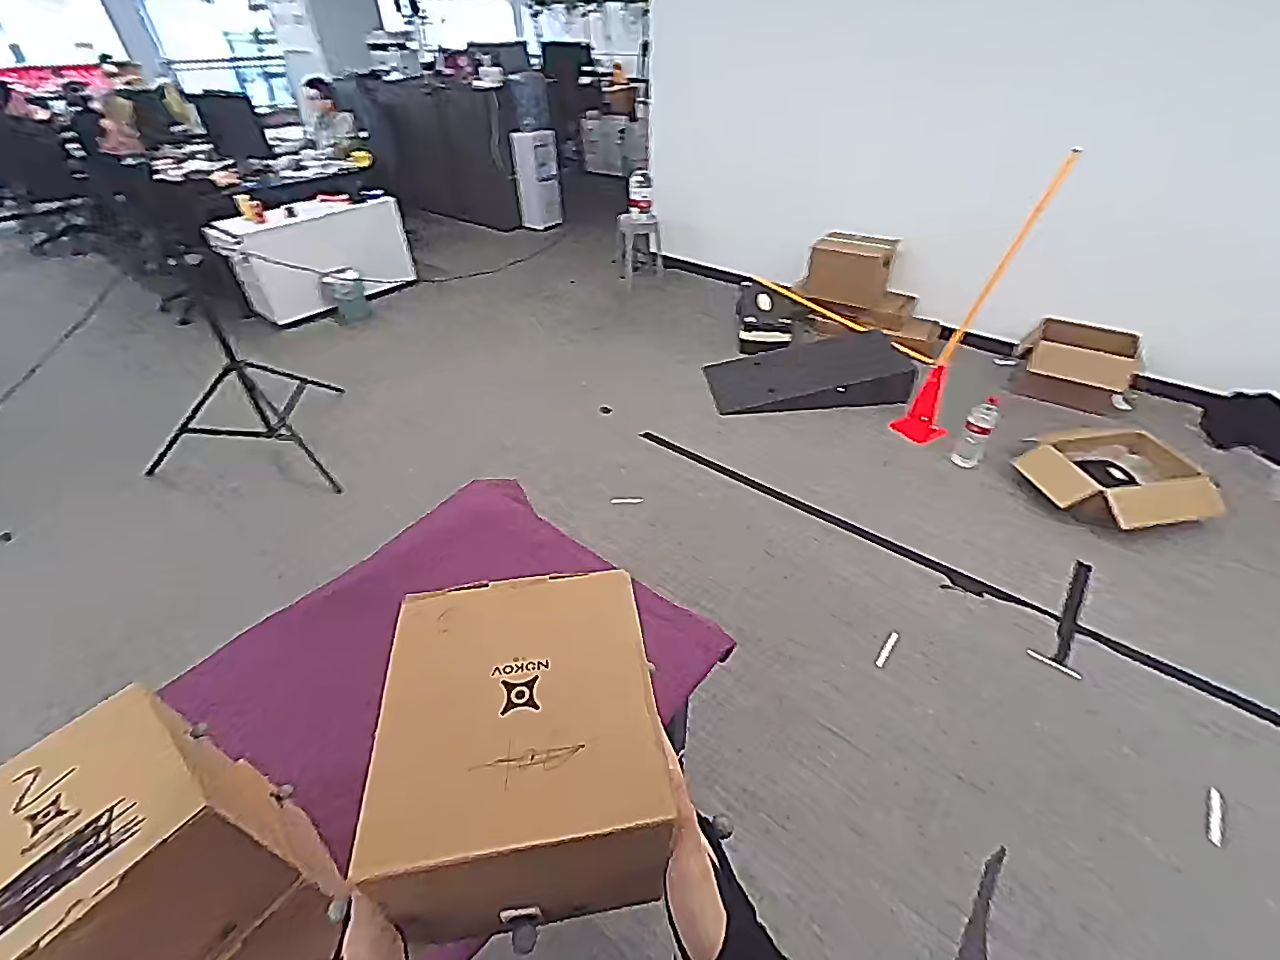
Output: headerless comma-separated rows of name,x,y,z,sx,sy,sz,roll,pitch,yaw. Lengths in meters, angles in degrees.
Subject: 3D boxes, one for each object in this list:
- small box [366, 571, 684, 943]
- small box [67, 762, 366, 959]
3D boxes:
small box,-0.072,0.193,0.391,0.168,0.176,0.179,-6,41,-8
small box,-0.427,0.450,0.566,0.179,0.176,0.168,28,49,31
